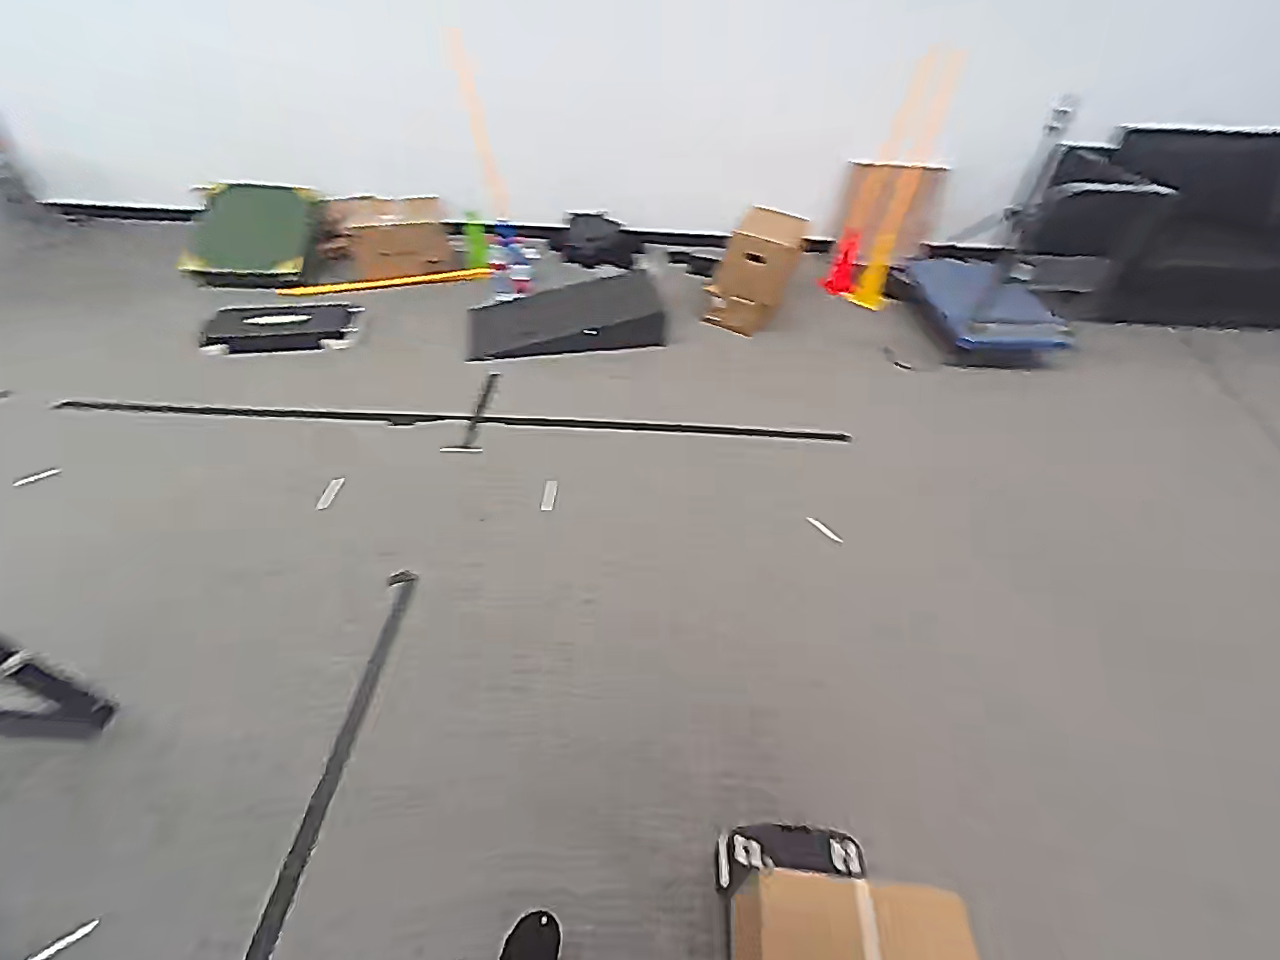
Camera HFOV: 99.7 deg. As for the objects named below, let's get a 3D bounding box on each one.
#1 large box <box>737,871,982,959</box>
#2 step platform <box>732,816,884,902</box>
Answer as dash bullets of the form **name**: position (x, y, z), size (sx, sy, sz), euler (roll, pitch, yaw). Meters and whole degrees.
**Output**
- **large box**: position (0.317, 0.863, 0.787), size (0.320, 0.320, 0.408), euler (7, 44, 3)
- **step platform**: position (0.310, 1.012, 0.974), size (0.286, 0.204, 0.684), euler (7, 44, 5)
